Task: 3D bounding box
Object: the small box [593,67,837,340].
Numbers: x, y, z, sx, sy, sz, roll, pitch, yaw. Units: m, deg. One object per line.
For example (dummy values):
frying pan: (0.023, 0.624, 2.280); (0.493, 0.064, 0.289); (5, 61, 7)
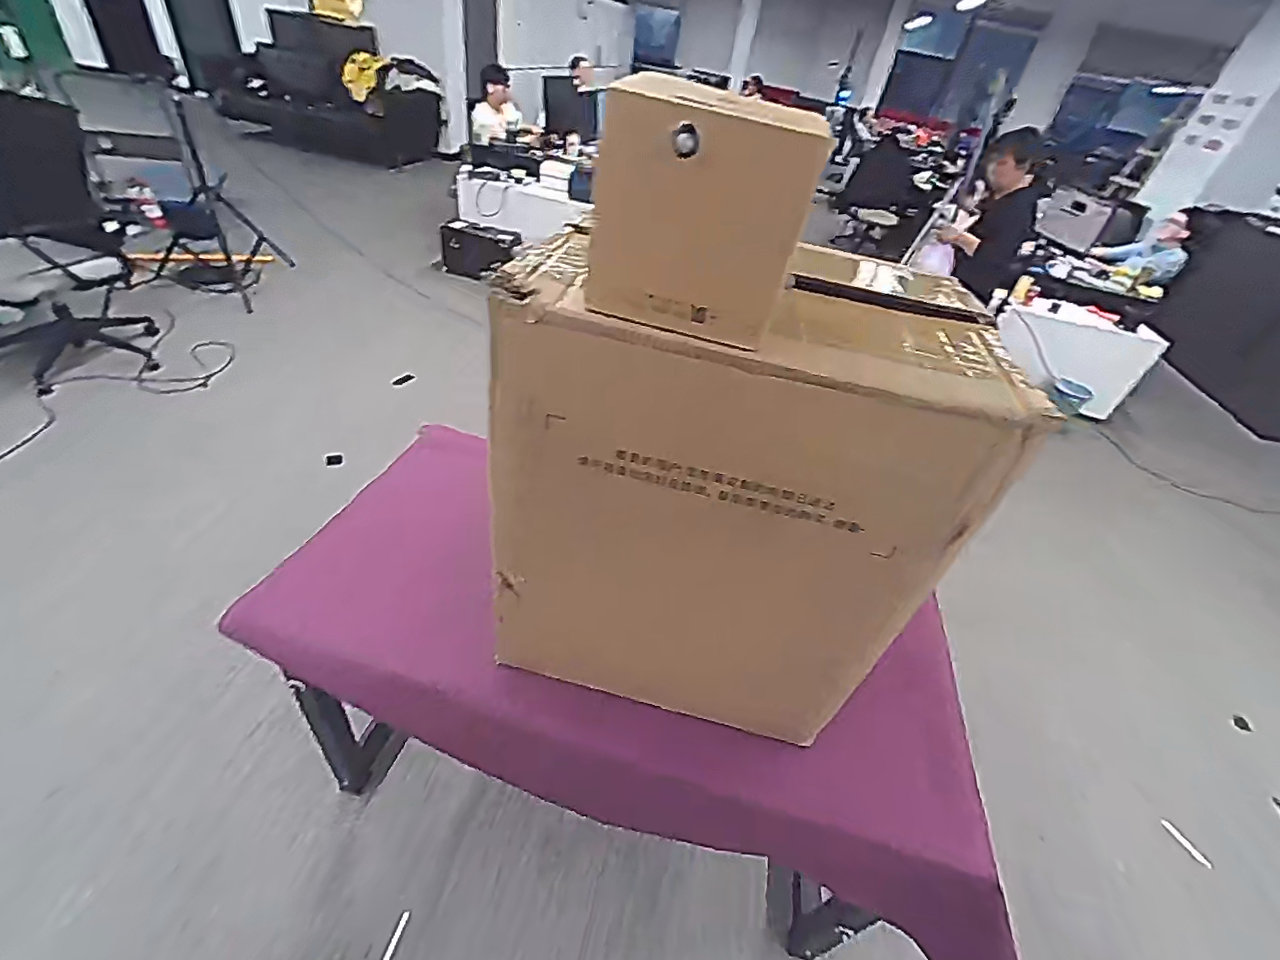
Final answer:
small box: (0.061, -0.251, 0.492); (0.168, 0.176, 0.179); (15, 39, 3)
